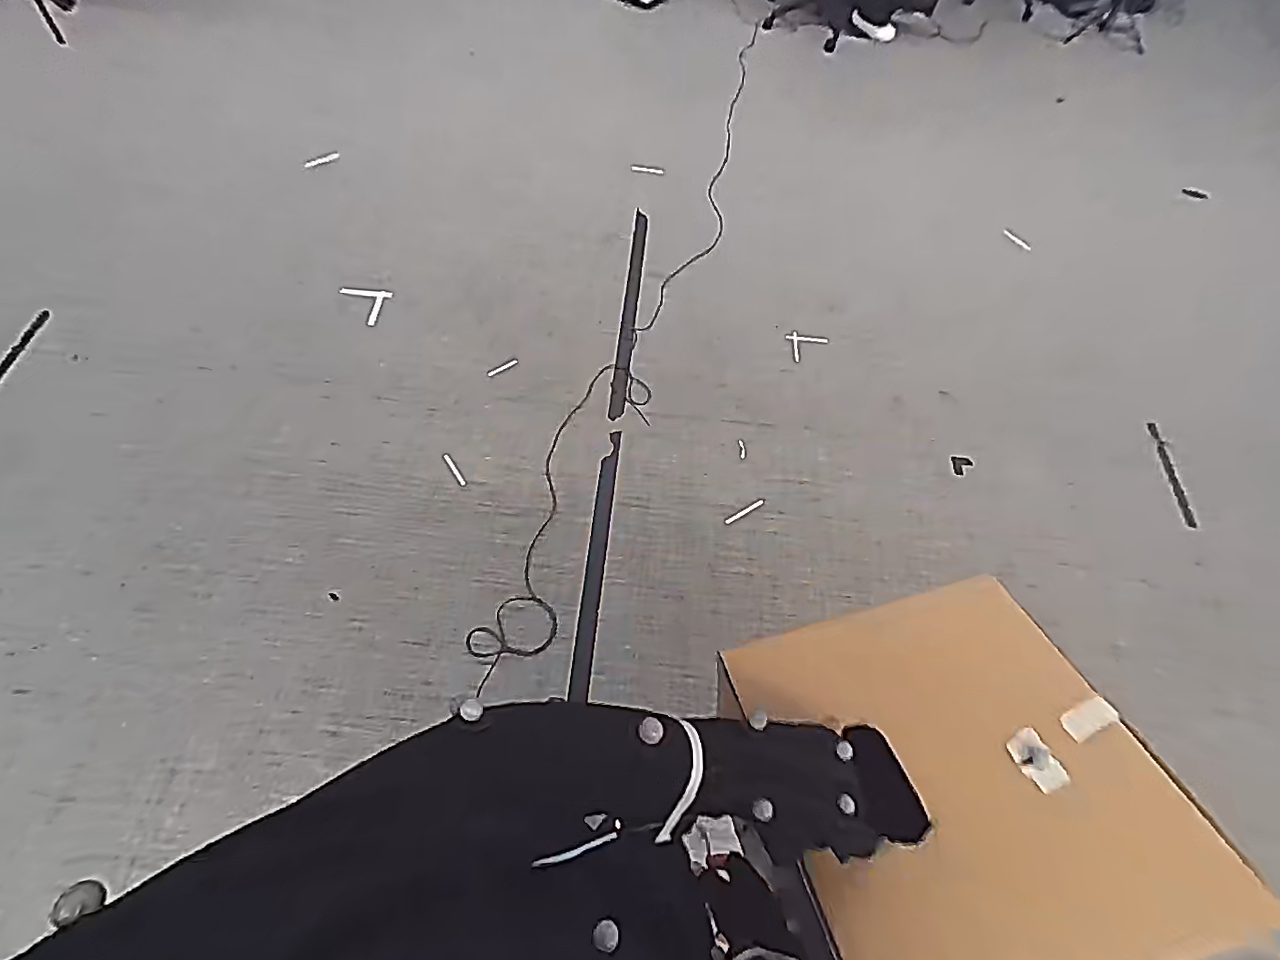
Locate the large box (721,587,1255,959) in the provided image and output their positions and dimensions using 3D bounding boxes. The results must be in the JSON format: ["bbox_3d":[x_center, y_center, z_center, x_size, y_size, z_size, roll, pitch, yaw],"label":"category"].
[{"bbox_3d":[0.293,0.389,0.612,0.320,0.408,0.320,-15,46,-5],"label":"large box"}]
